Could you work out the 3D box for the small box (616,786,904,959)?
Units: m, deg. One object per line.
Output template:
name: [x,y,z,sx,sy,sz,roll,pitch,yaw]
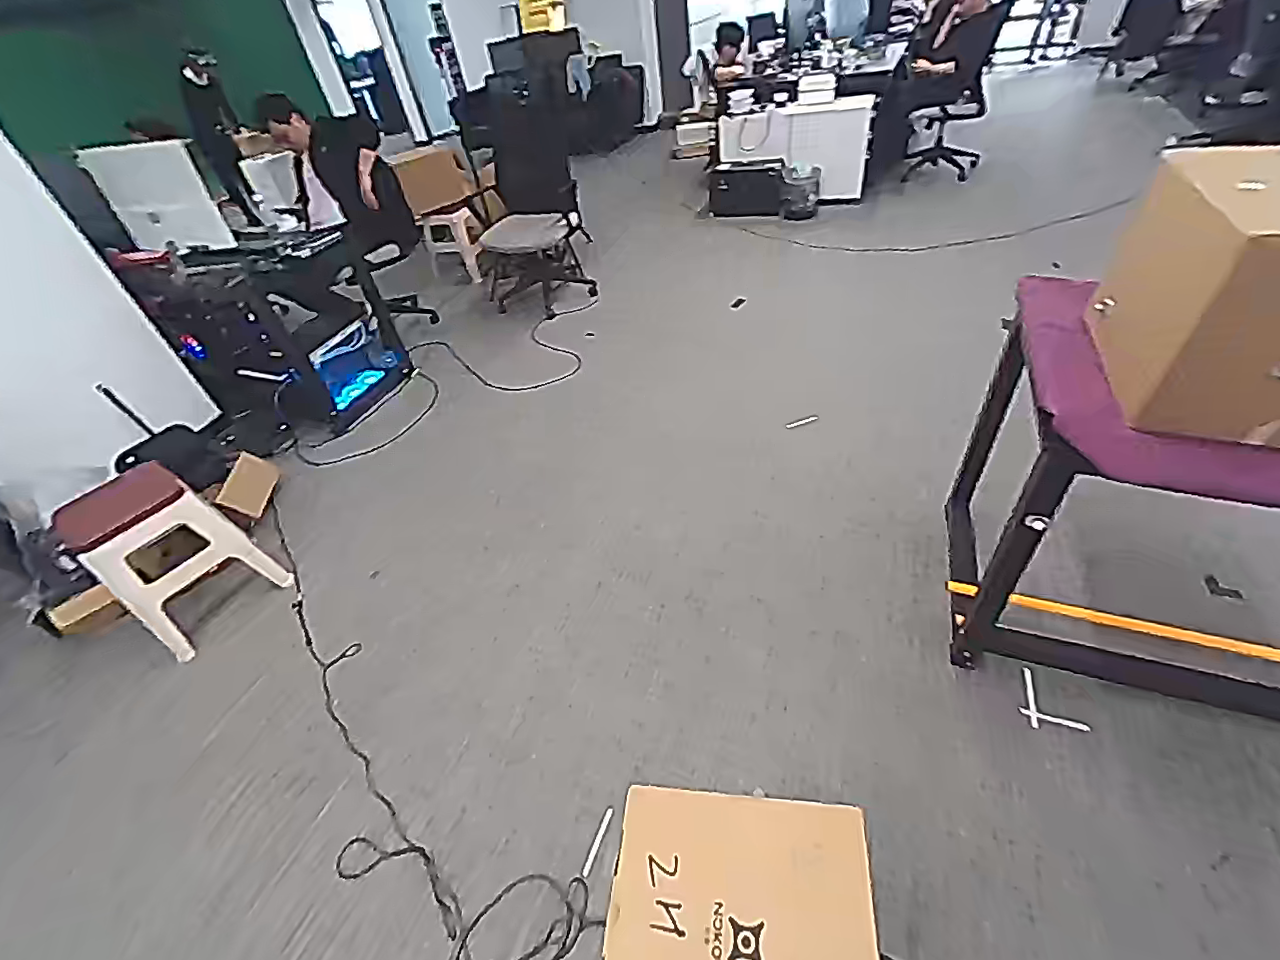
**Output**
small box: [0.091,0.343,0.388,0.179,0.176,0.168,-5,45,19]
